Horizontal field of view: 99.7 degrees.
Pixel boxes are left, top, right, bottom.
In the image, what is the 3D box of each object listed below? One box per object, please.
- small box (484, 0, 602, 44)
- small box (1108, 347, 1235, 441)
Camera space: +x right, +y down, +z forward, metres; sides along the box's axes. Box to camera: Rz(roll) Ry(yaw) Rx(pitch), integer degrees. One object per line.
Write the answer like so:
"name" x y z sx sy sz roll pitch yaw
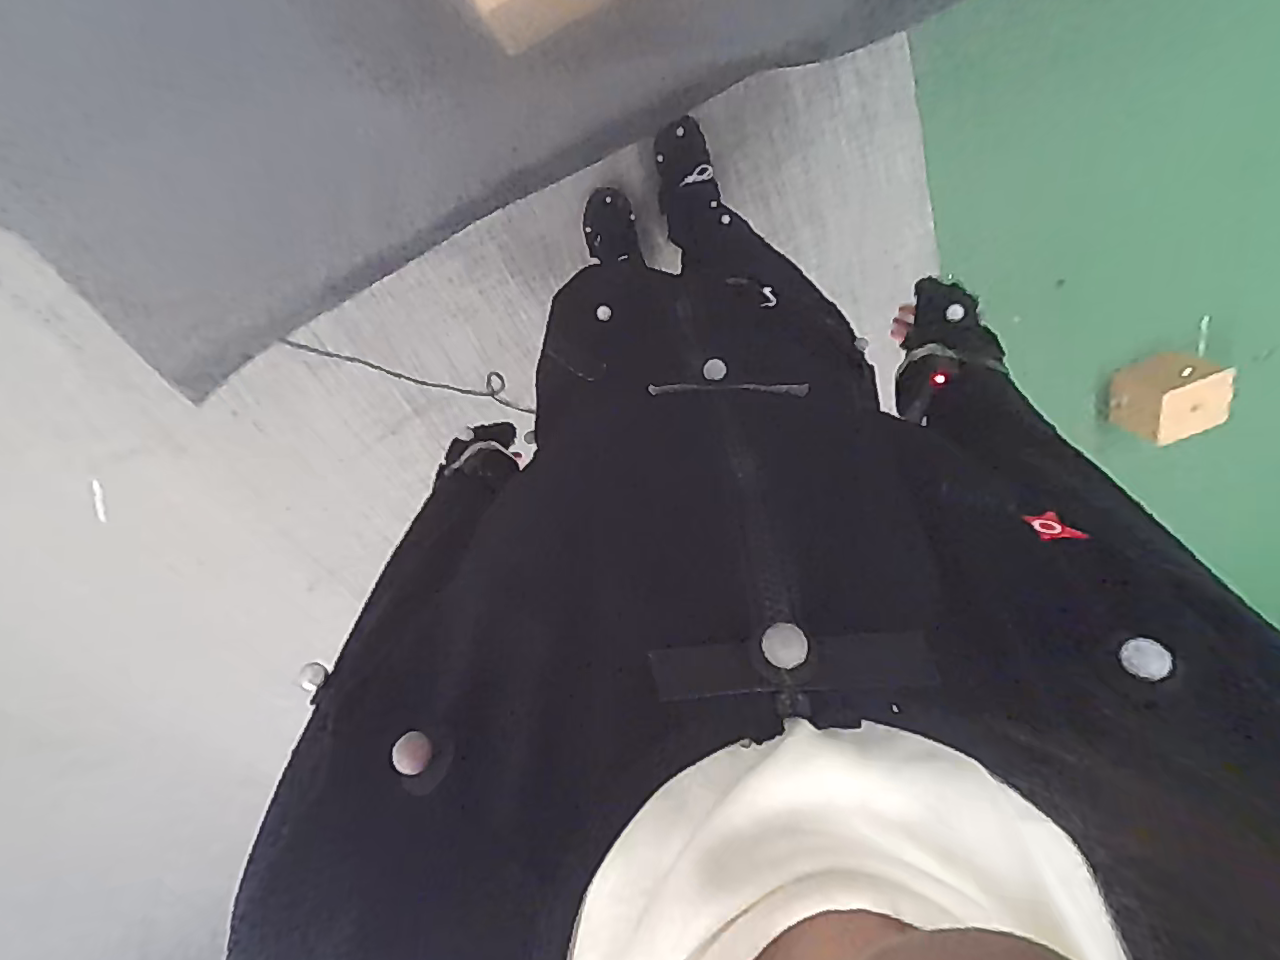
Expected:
"small box" -0.069 -0.437 0.354 0.168 0.176 0.179 -24 119 10
"small box" 1.435 -0.240 1.472 0.179 0.176 0.168 -22 120 9
